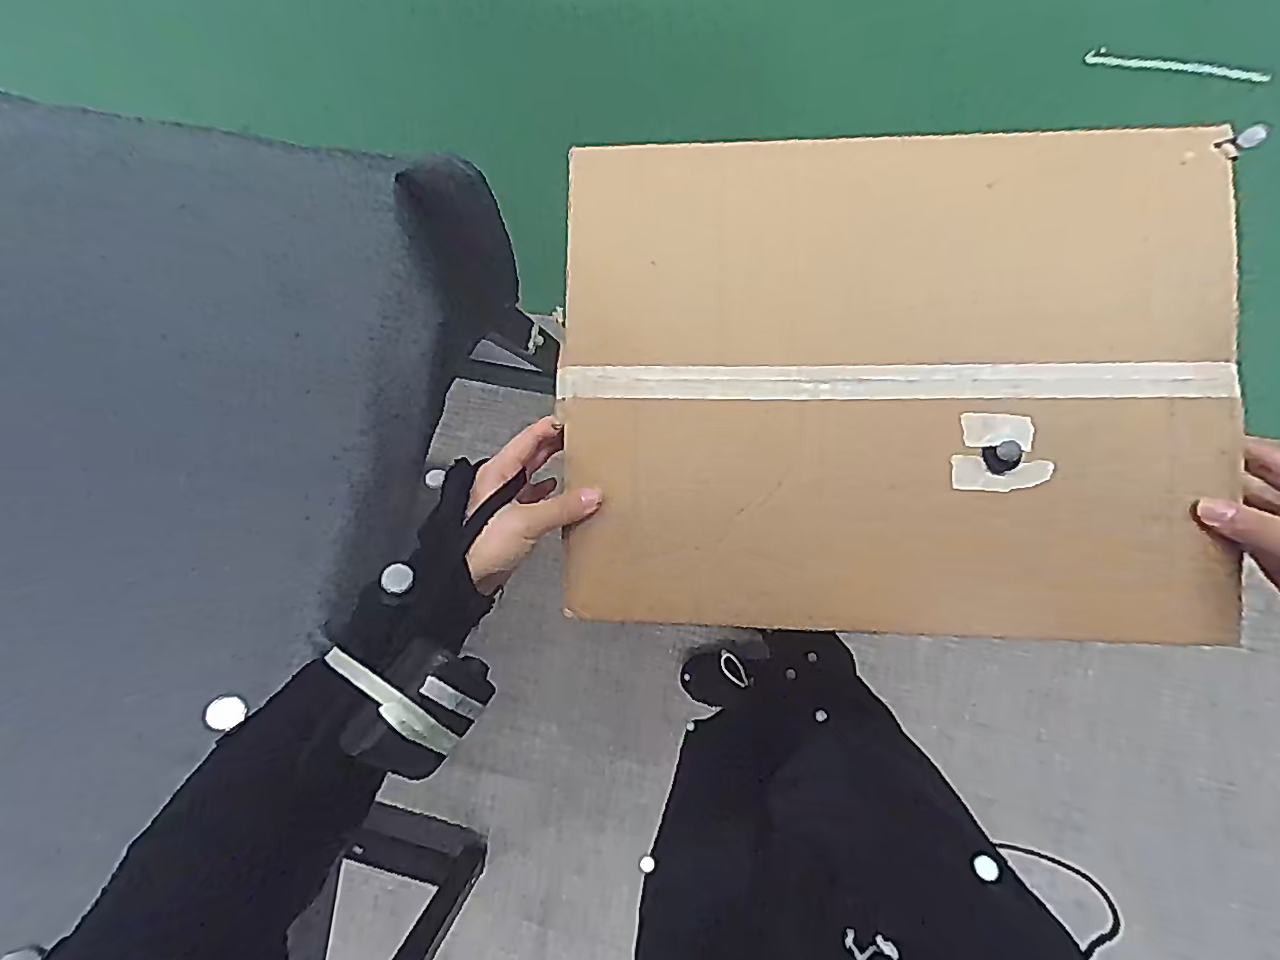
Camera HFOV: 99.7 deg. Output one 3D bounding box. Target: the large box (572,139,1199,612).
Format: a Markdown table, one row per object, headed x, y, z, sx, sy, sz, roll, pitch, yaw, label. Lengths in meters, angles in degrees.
| x | y | z | sx | sy | sz | roll | pitch | yaw | label |
| --- | --- | --- | --- | --- | --- | --- | --- | --- | --- |
| 0.160 | -0.062 | 0.505 | 0.408 | 0.320 | 0.320 | 1 | 88 | 4 | large box |
